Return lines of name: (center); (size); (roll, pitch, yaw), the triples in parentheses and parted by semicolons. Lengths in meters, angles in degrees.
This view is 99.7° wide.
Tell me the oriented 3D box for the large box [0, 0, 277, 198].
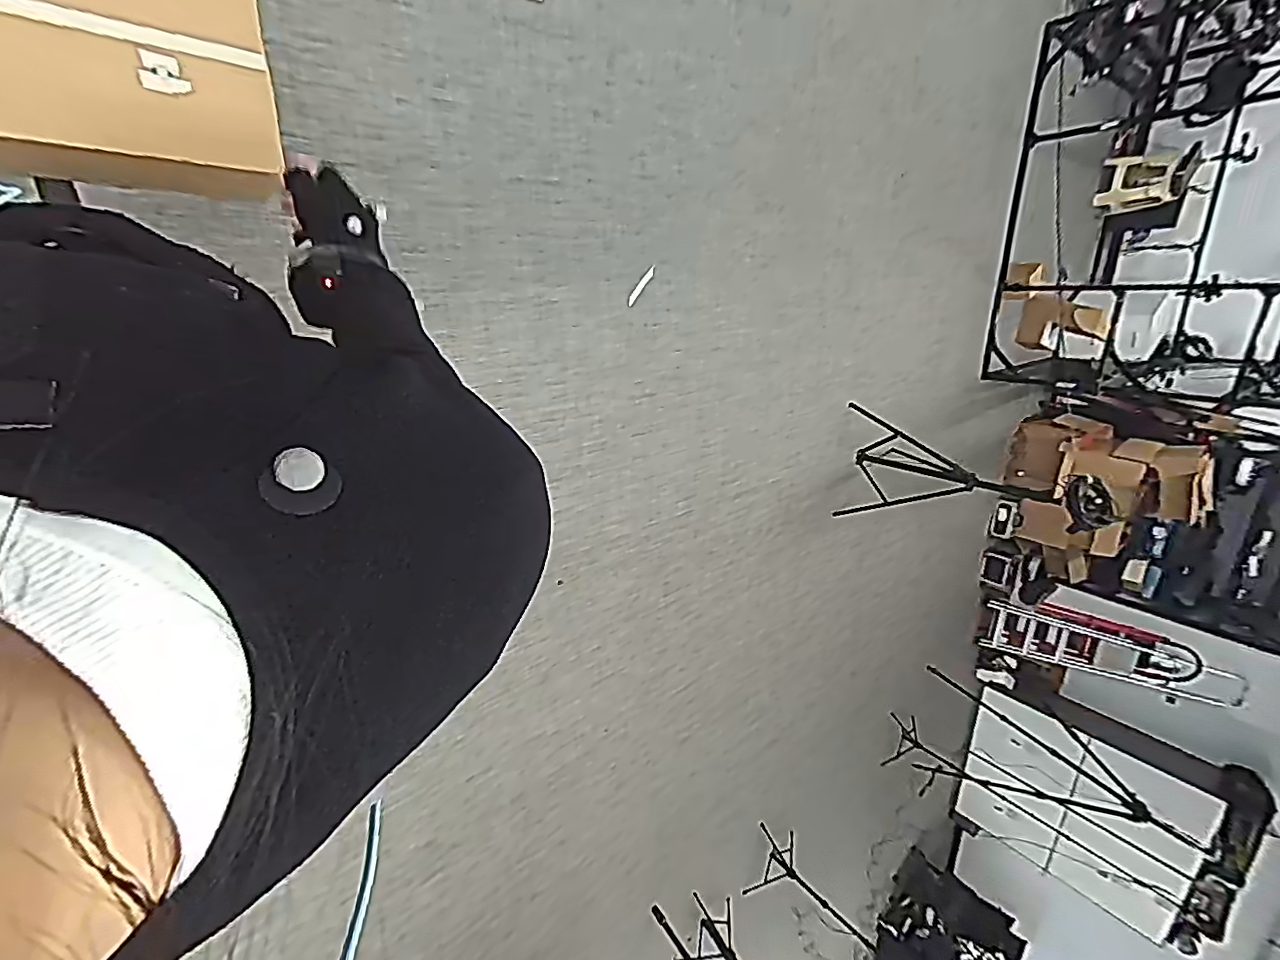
large box: (-0.856, -0.654, 0.845); (0.408, 0.320, 0.320); (-14, 113, -38)
